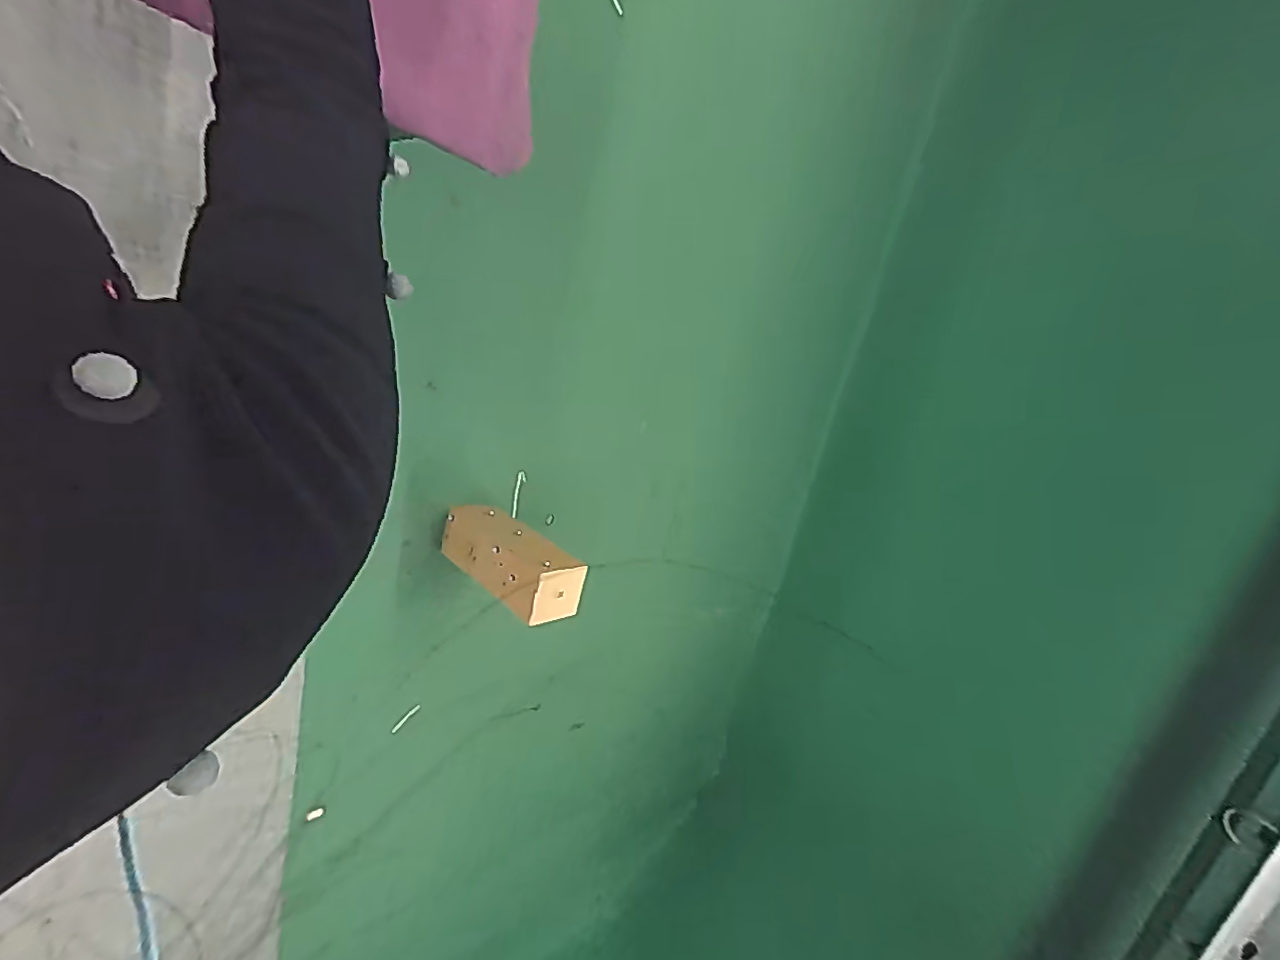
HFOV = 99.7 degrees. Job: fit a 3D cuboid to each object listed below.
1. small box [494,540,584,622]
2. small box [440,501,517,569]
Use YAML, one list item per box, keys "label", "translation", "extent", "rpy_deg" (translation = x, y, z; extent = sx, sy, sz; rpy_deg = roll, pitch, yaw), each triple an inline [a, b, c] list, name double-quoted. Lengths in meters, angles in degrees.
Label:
- label: "small box"
  translation: [-0.298, 0.288, 1.589]
  extent: [0.179, 0.176, 0.168]
  rpy_deg: [-1, 111, -50]
- label: "small box"
  translation: [-0.536, 0.176, 1.785]
  extent: [0.179, 0.176, 0.168]
  rpy_deg: [-2, 111, -48]
